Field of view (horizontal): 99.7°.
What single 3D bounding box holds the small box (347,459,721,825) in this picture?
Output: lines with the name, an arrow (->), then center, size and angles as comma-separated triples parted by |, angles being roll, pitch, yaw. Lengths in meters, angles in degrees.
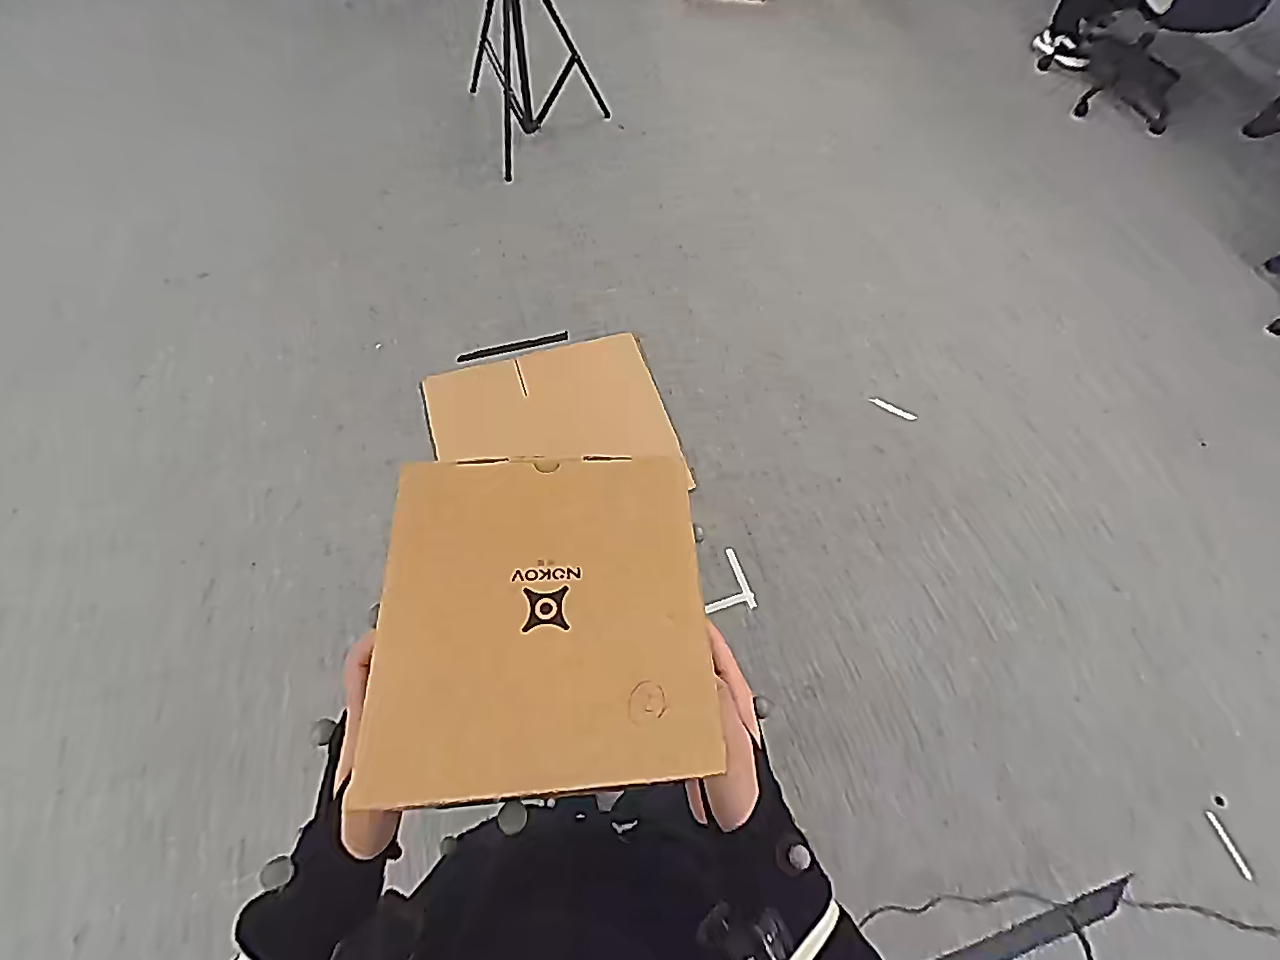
small box -> -0.056, 0.106, 0.344 | 0.168, 0.176, 0.179 | -2, 58, -7
